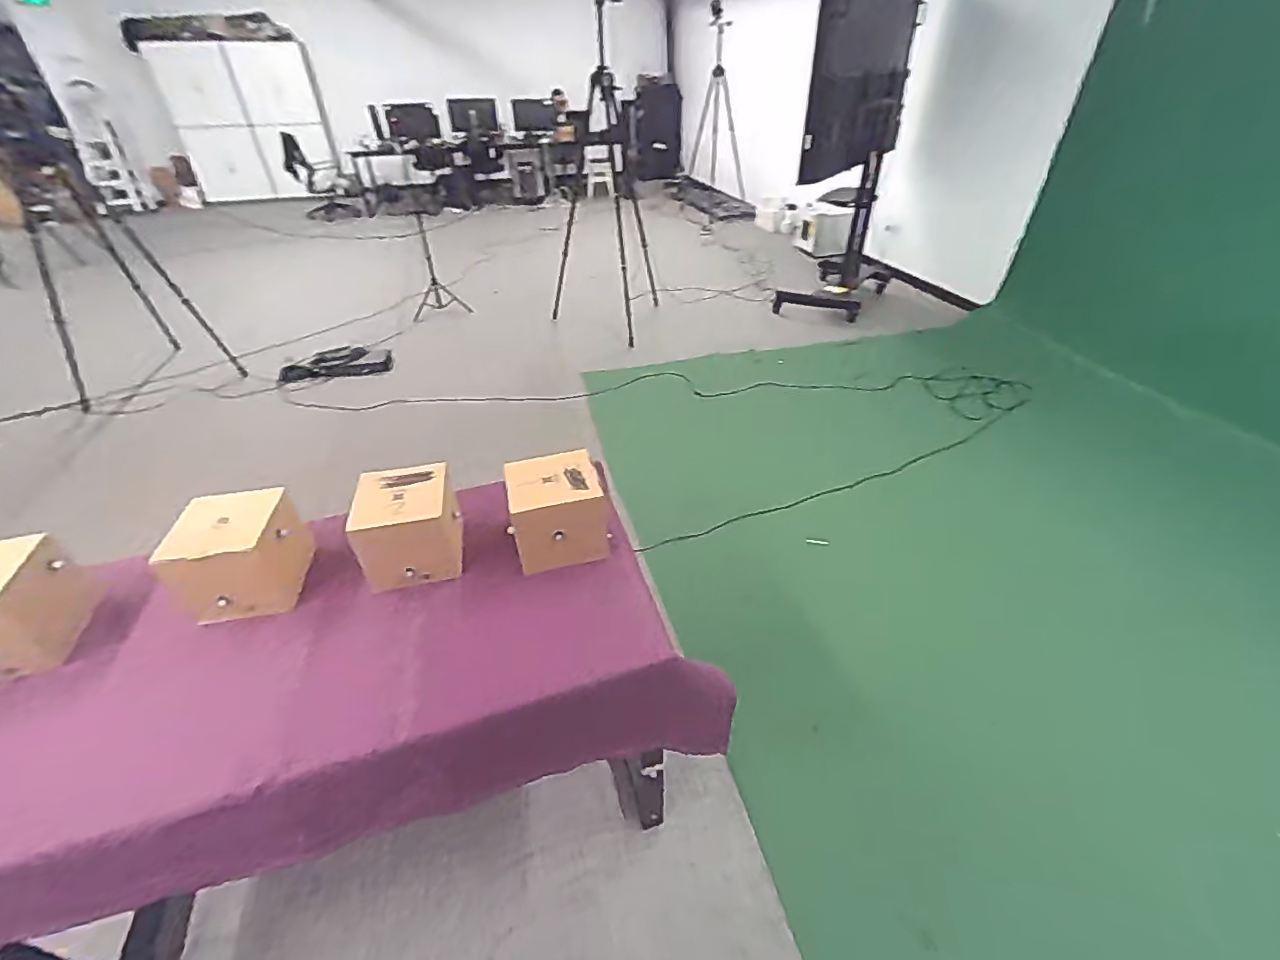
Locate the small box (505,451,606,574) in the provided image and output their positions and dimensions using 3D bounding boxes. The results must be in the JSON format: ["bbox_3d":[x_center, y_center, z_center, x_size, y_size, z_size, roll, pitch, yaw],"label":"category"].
[{"bbox_3d":[-0.169,0.065,1.106,0.179,0.176,0.168,-12,39,-10],"label":"small box"}]

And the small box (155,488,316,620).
[{"bbox_3d":[-0.751,0.139,1.032,0.168,0.176,0.179,-7,39,-8],"label":"small box"}]

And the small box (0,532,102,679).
[{"bbox_3d":[-1.095,0.220,0.931,0.168,0.176,0.179,-12,39,-13],"label":"small box"}]
